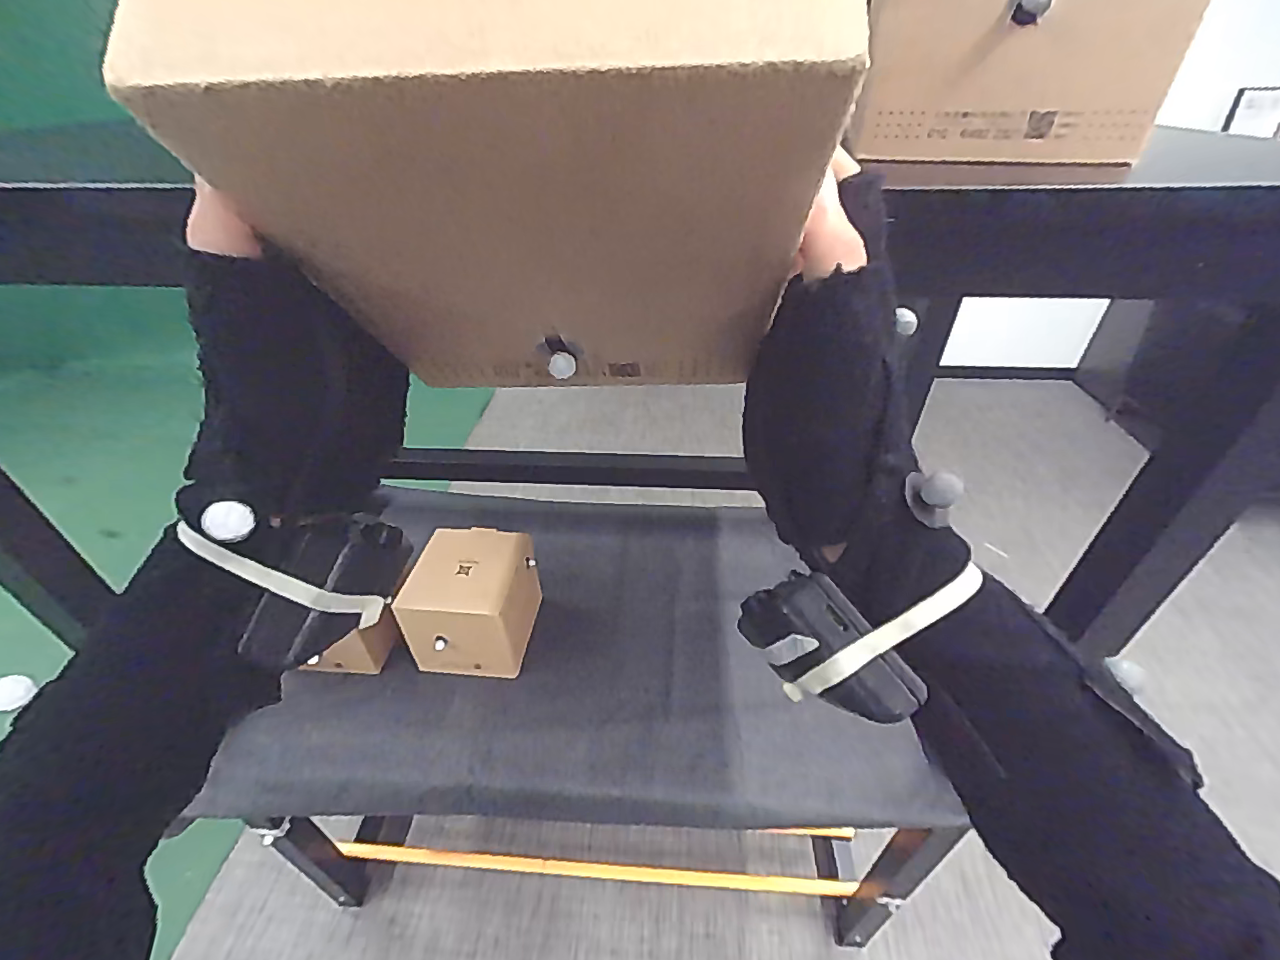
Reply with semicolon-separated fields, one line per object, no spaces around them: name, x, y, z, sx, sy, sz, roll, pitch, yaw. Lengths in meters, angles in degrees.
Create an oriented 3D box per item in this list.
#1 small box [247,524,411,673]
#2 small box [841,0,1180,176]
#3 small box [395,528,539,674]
small box;-0.502;0.197;0.914;0.168;0.176;0.179;2;38;3
small box;0.244;-0.319;0.377;0.168;0.176;0.179;9;38;12
small box;-0.274;0.203;0.909;0.168;0.176;0.179;3;37;4
